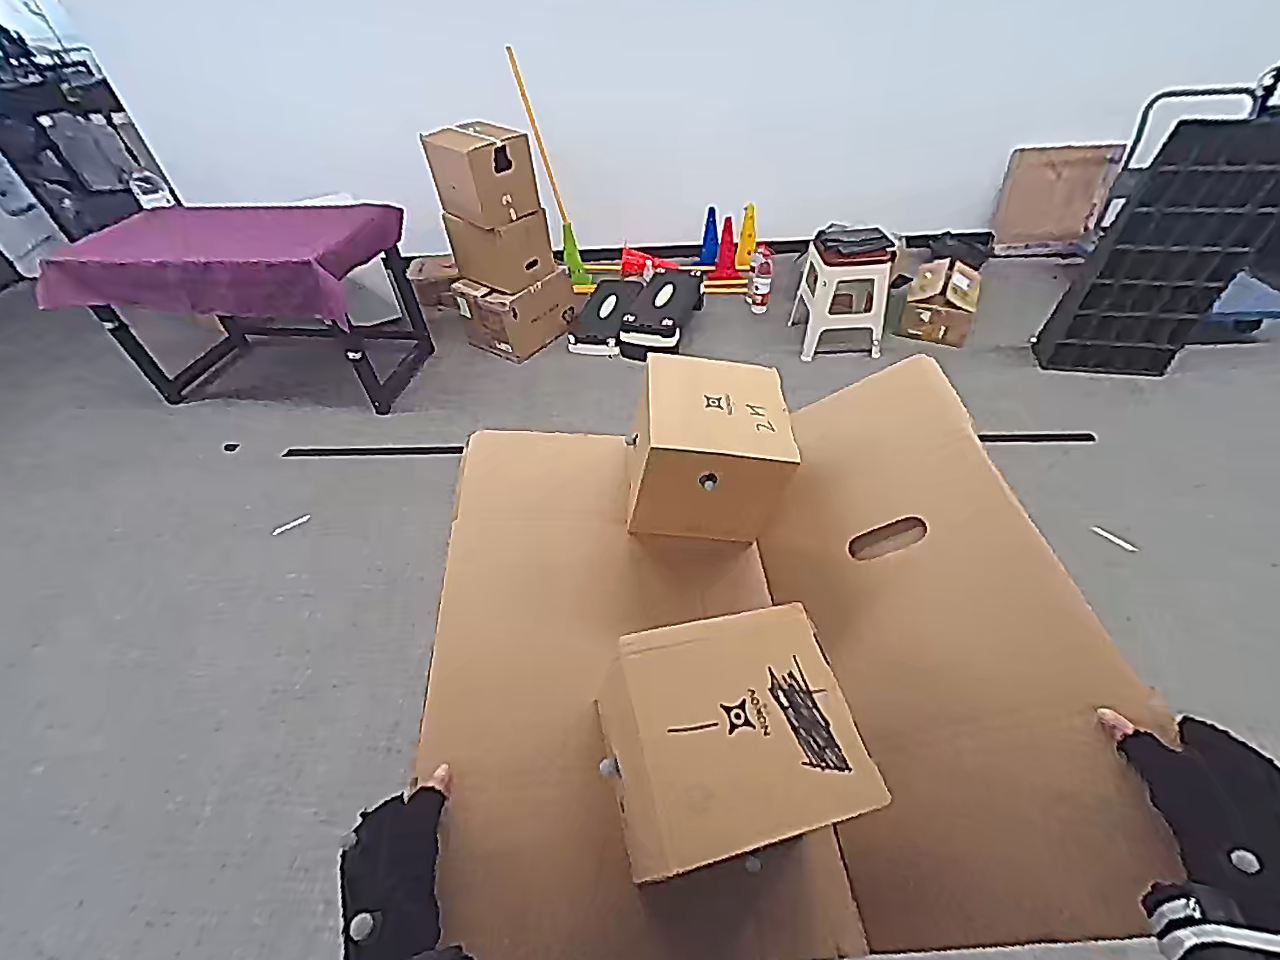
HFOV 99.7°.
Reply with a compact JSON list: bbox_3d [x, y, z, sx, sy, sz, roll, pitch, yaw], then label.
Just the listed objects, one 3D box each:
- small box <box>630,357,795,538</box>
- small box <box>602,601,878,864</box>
[{"bbox_3d":[0.082,-0.038,0.722,0.179,0.176,0.168,6,51,-7],"label":"small box"},{"bbox_3d":[0.071,0.233,0.500,0.179,0.176,0.168,-6,53,-15],"label":"small box"}]
